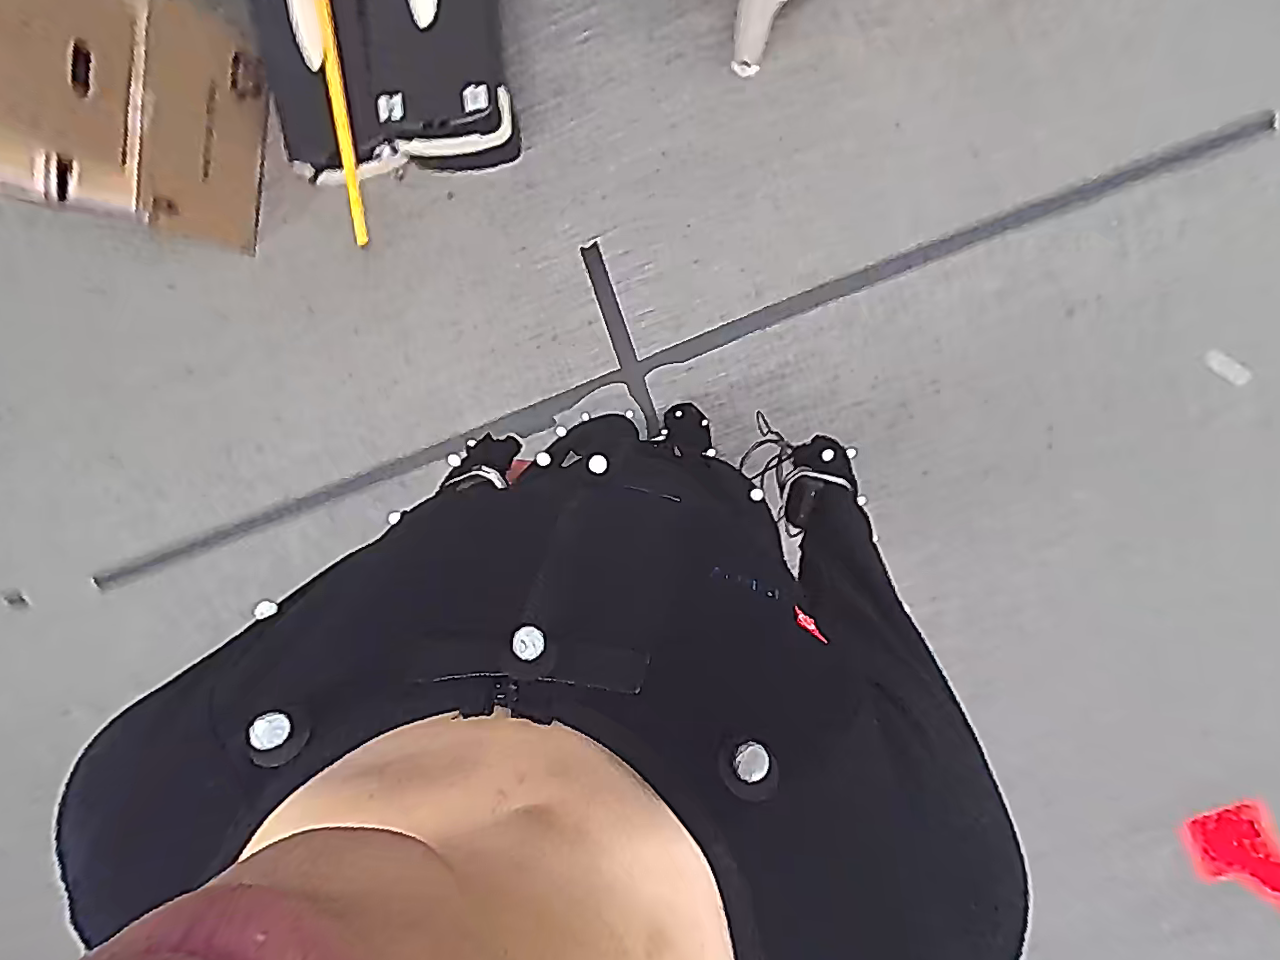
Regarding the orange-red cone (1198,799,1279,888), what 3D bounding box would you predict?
[{"bbox_3d":[1.630,0.998,1.303,0.198,0.360,0.199,-24,94,7],"label":"orange-red cone"}]
